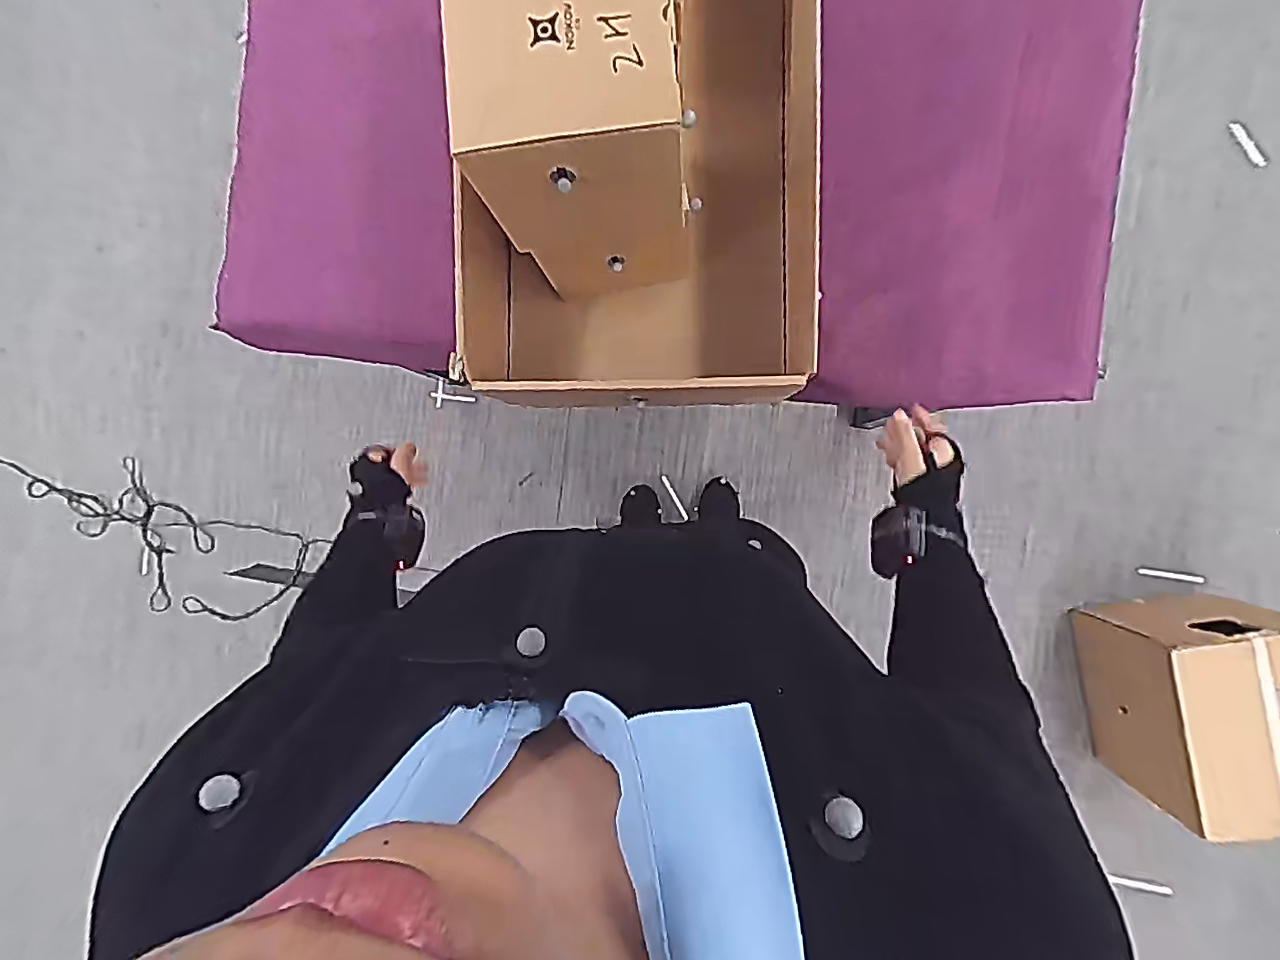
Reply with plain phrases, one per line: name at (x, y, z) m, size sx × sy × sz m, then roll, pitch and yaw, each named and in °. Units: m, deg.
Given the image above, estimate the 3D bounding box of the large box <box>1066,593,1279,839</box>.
large box at (1.264, 0.506, 1.228) m, size 0.320 × 0.320 × 0.408 m, roll -11°, pitch 89°, yaw 5°

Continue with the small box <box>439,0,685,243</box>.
small box at (-0.054, -0.327, 0.472) m, size 0.179 × 0.176 × 0.168 m, roll -4°, pitch 88°, yaw 5°
